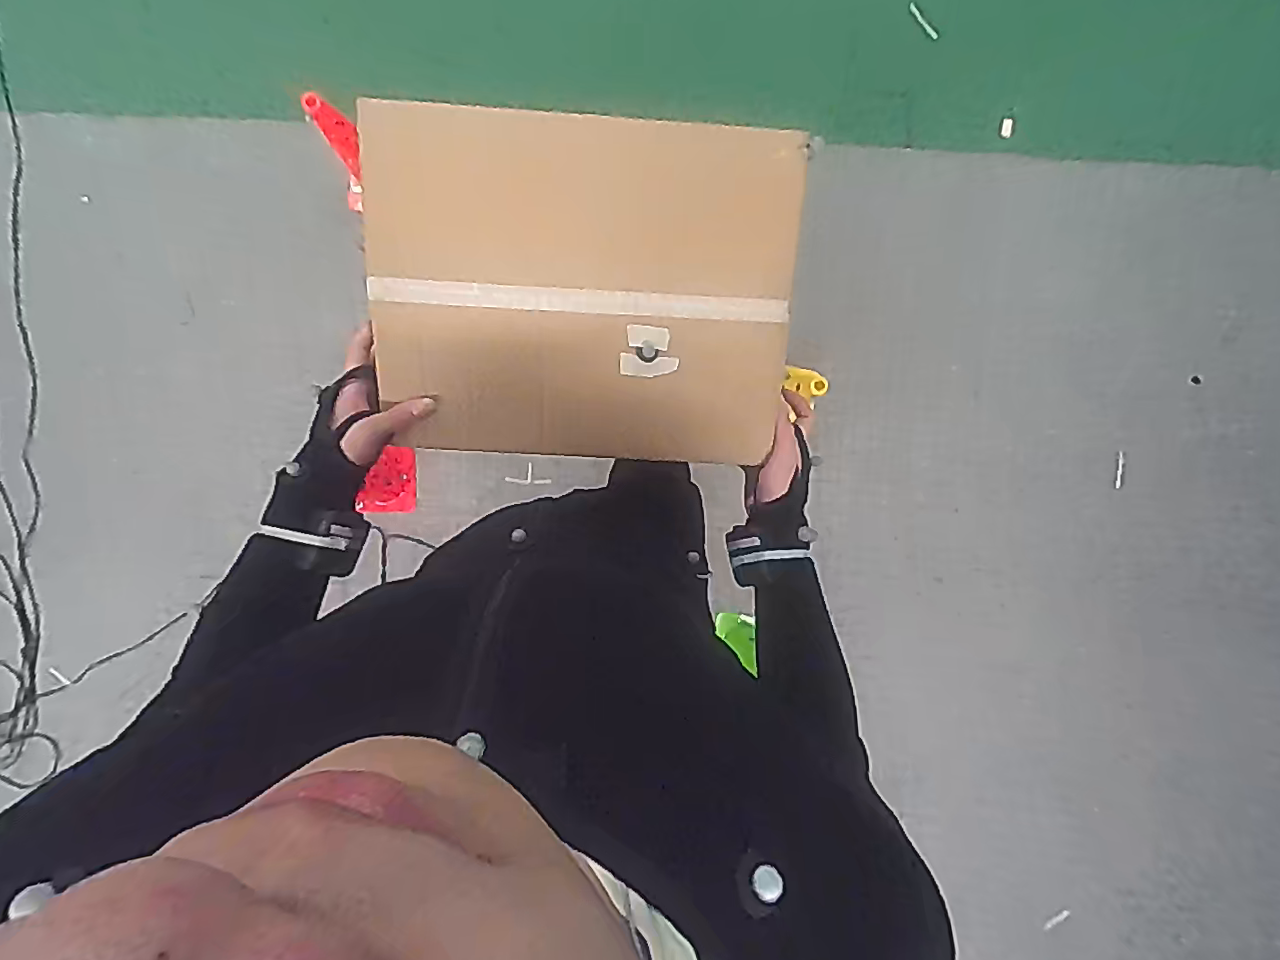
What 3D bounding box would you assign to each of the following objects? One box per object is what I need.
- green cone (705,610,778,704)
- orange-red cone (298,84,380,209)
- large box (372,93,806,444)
[{"bbox_3d":[0.307,0.511,1.461,0.200,0.368,0.202,9,93,-1],"label":"green cone"},{"bbox_3d":[-0.732,-0.860,1.362,0.199,0.360,0.198,11,93,1],"label":"orange-red cone"},{"bbox_3d":[-0.057,-0.232,0.674,0.408,0.320,0.320,3,107,-3],"label":"large box"}]
